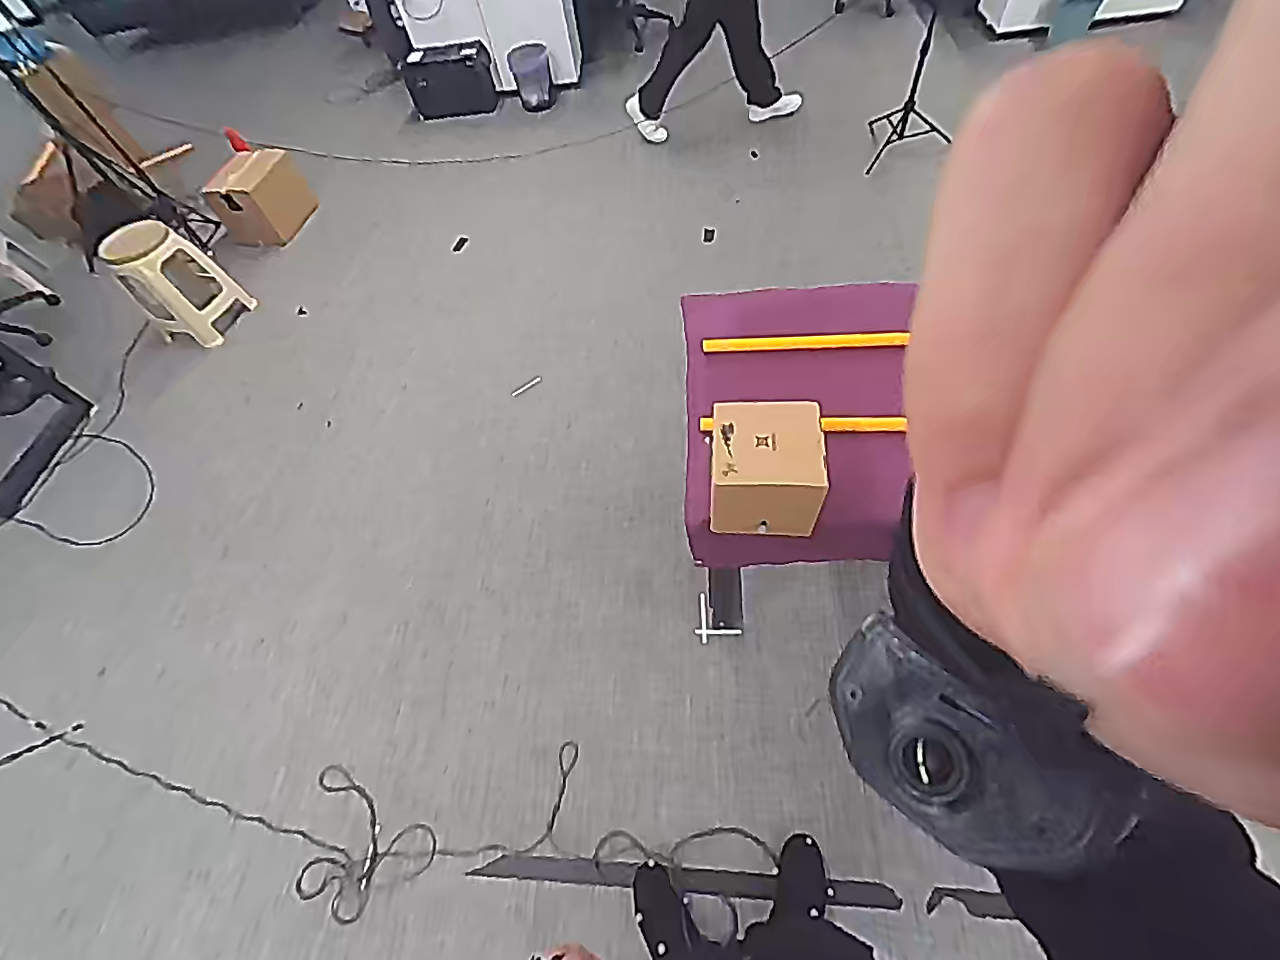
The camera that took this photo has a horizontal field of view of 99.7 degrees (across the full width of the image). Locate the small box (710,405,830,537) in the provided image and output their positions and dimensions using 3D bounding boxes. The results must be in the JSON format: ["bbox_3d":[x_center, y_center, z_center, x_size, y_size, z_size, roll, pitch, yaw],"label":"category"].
[{"bbox_3d":[0.213,-0.011,0.926,0.179,0.176,0.168,2,58,7],"label":"small box"}]
